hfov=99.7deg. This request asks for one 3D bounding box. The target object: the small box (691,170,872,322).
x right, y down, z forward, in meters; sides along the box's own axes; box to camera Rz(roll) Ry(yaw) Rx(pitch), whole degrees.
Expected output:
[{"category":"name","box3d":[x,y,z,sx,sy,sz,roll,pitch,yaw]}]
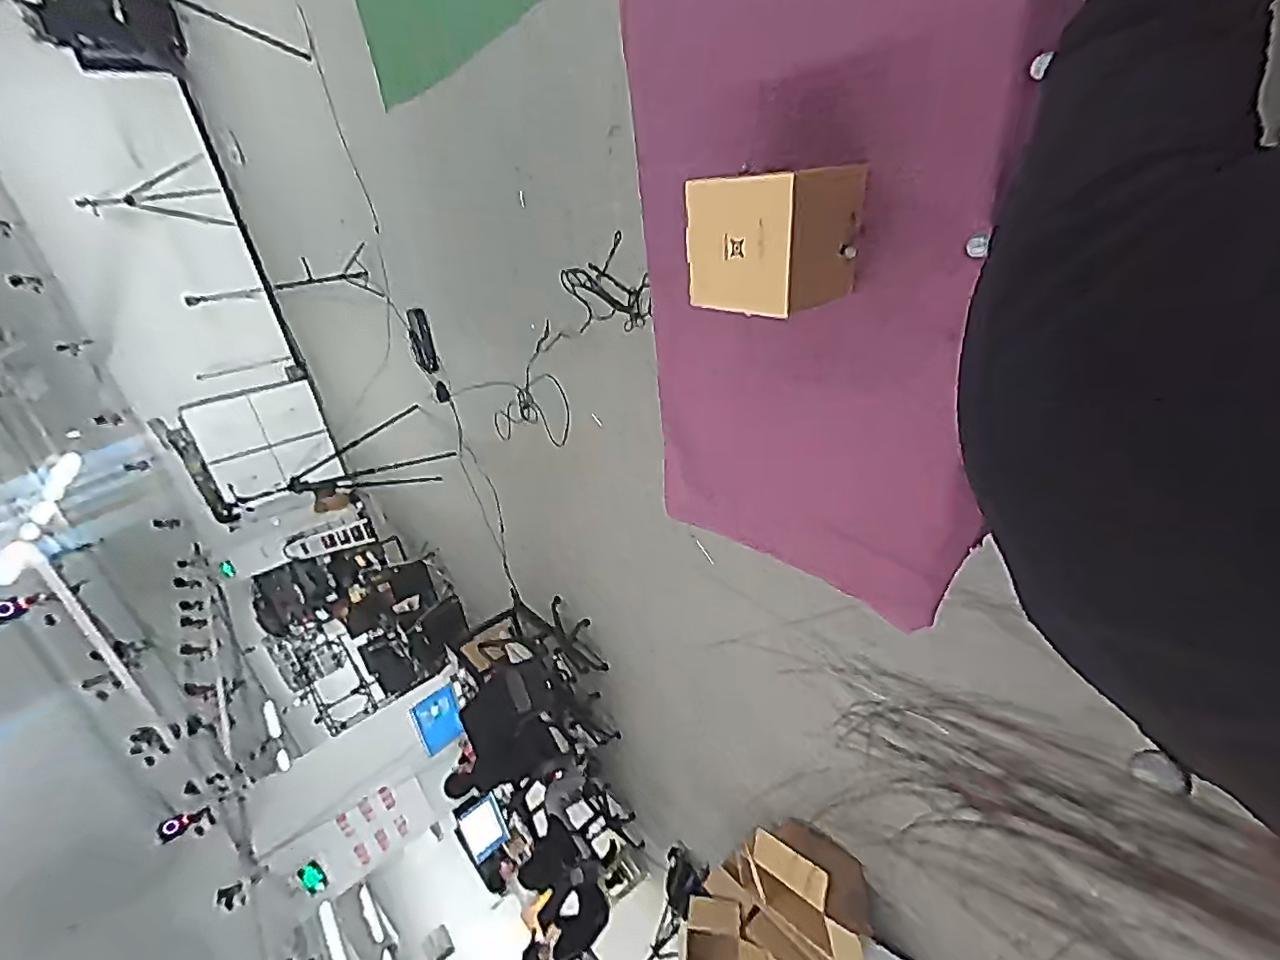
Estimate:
[{"category":"small box","box3d":[0.192,-0.331,0.756,0.179,0.176,0.168,26,132,43]}]
